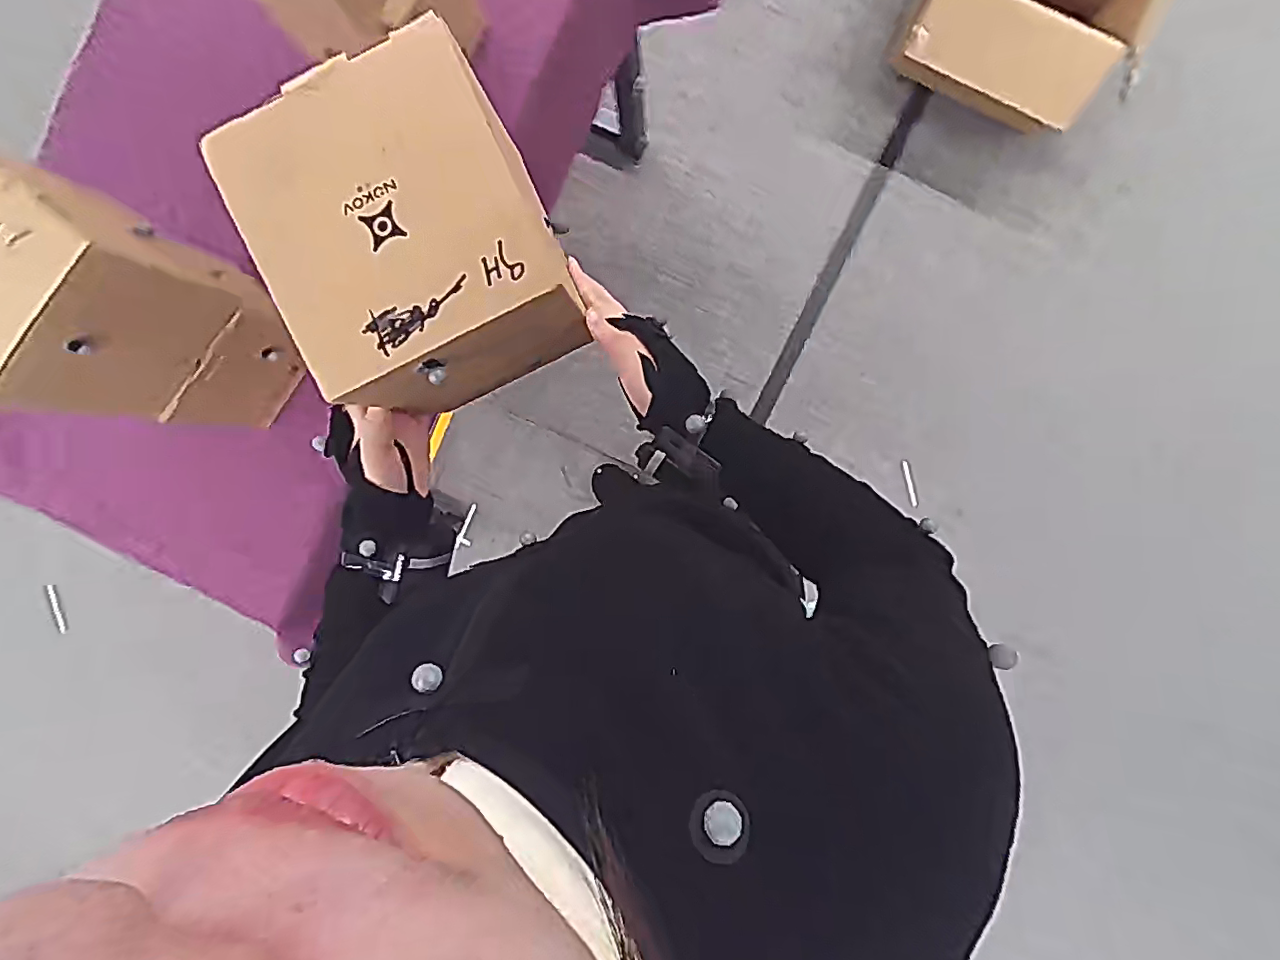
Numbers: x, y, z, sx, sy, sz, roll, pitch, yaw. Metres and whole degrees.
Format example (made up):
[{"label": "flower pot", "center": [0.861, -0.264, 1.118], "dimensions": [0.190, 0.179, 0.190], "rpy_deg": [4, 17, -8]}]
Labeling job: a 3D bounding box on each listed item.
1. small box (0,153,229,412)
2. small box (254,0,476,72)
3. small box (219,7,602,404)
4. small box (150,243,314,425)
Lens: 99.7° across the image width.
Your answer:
[{"label": "small box", "center": [-0.568, -0.182, 0.533], "dimensions": [0.168, 0.176, 0.179], "rpy_deg": [38, 93, -1]}, {"label": "small box", "center": [-0.330, -0.586, 0.659], "dimensions": [0.179, 0.176, 0.168], "rpy_deg": [29, 94, 2]}, {"label": "small box", "center": [-0.142, -0.170, 0.401], "dimensions": [0.168, 0.176, 0.179], "rpy_deg": [-24, 92, 6]}, {"label": "small box", "center": [-0.563, -0.186, 0.697], "dimensions": [0.179, 0.176, 0.168], "rpy_deg": [37, 94, 0]}]
